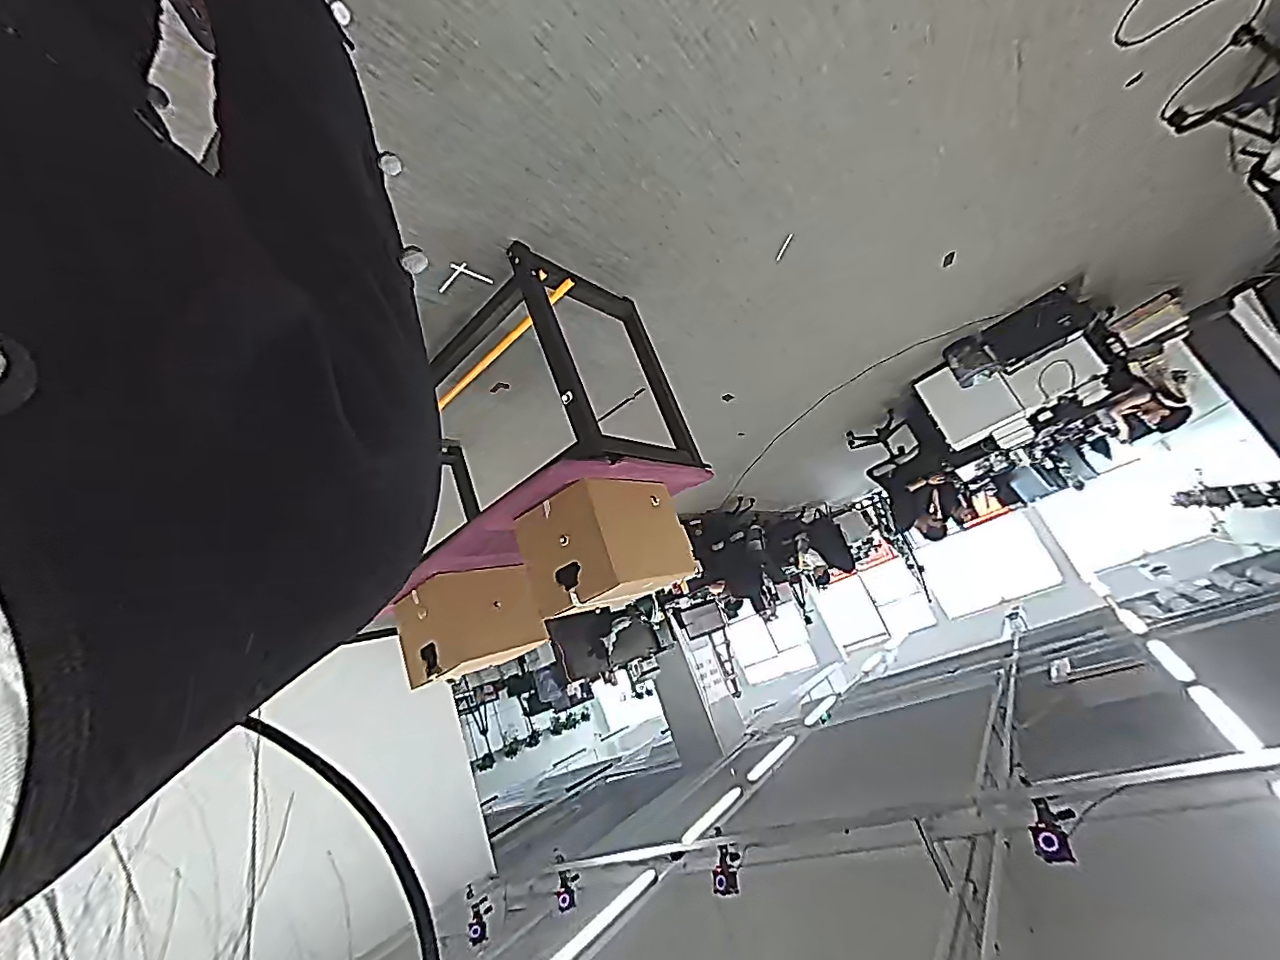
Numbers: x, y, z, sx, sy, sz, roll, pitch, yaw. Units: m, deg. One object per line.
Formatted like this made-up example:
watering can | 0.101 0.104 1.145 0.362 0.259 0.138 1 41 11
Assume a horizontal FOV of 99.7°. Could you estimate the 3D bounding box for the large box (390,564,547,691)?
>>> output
large box | -0.624 0.523 1.974 0.320 0.320 0.408 -32 161 30
